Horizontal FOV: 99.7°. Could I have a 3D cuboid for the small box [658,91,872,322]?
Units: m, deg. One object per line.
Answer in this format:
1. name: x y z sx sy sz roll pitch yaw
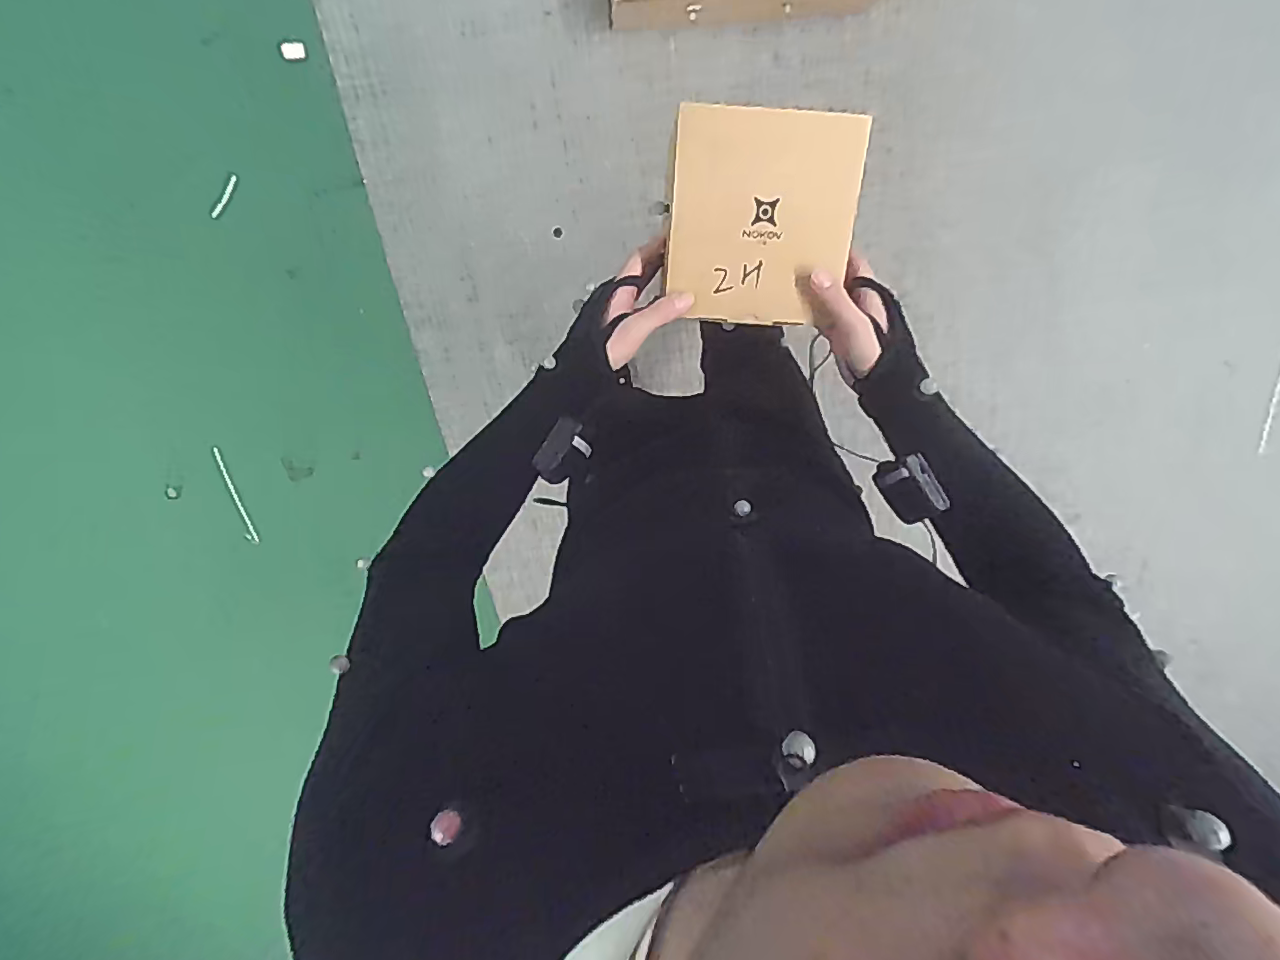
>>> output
1. small box: 0.108 -0.263 0.554 0.168 0.176 0.179 3 111 -1
